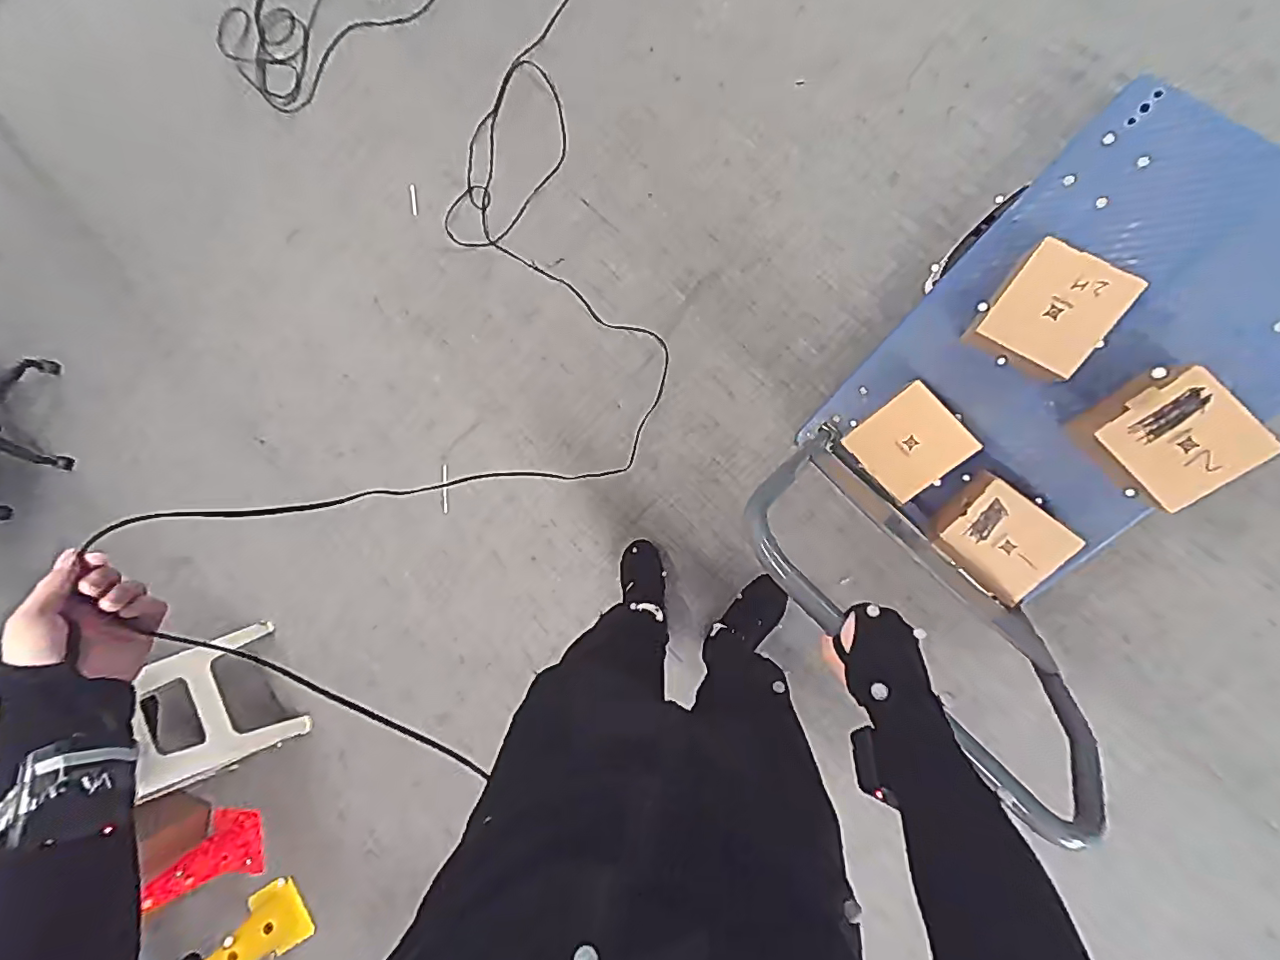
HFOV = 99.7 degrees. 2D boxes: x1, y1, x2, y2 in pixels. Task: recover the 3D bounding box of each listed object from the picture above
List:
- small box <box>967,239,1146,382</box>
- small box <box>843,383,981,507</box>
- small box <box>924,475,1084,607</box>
[{"bbox_3d":[0.713,-0.287,0.957,0.168,0.176,0.179,36,109,13],"label":"small box"},{"bbox_3d":[0.524,-0.075,1.068,0.179,0.176,0.168,-42,82,23],"label":"small box"},{"bbox_3d":[0.674,0.105,1.031,0.179,0.176,0.168,41,111,11],"label":"small box"}]
